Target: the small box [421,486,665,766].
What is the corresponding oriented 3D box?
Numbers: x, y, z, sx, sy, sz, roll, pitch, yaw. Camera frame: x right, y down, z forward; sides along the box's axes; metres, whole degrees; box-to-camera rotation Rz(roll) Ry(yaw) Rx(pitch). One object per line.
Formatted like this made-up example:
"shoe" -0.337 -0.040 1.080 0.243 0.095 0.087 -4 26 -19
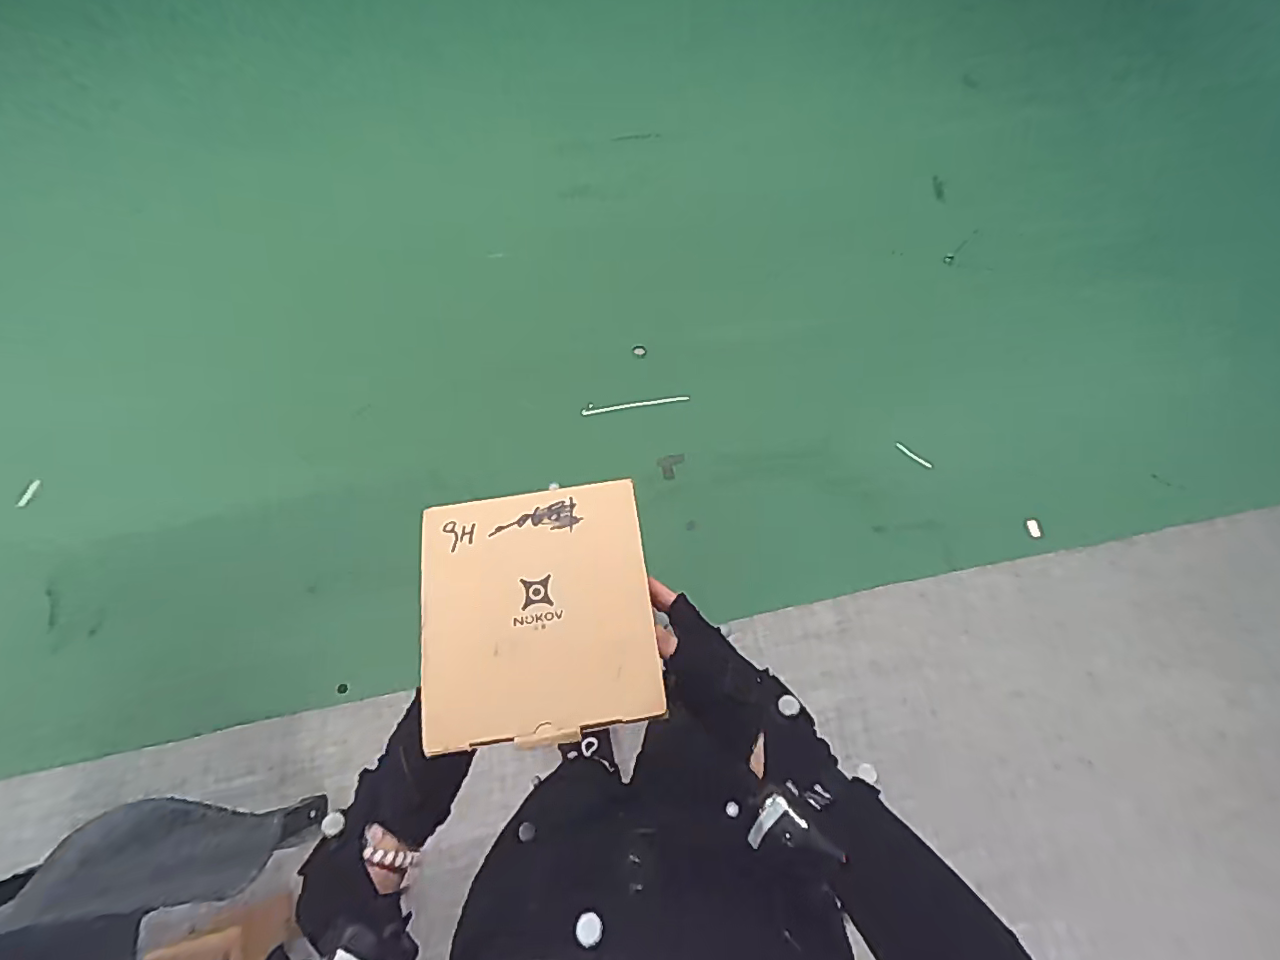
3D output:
"small box" -0.071 0.122 0.458 0.168 0.176 0.179 -8 70 -2
